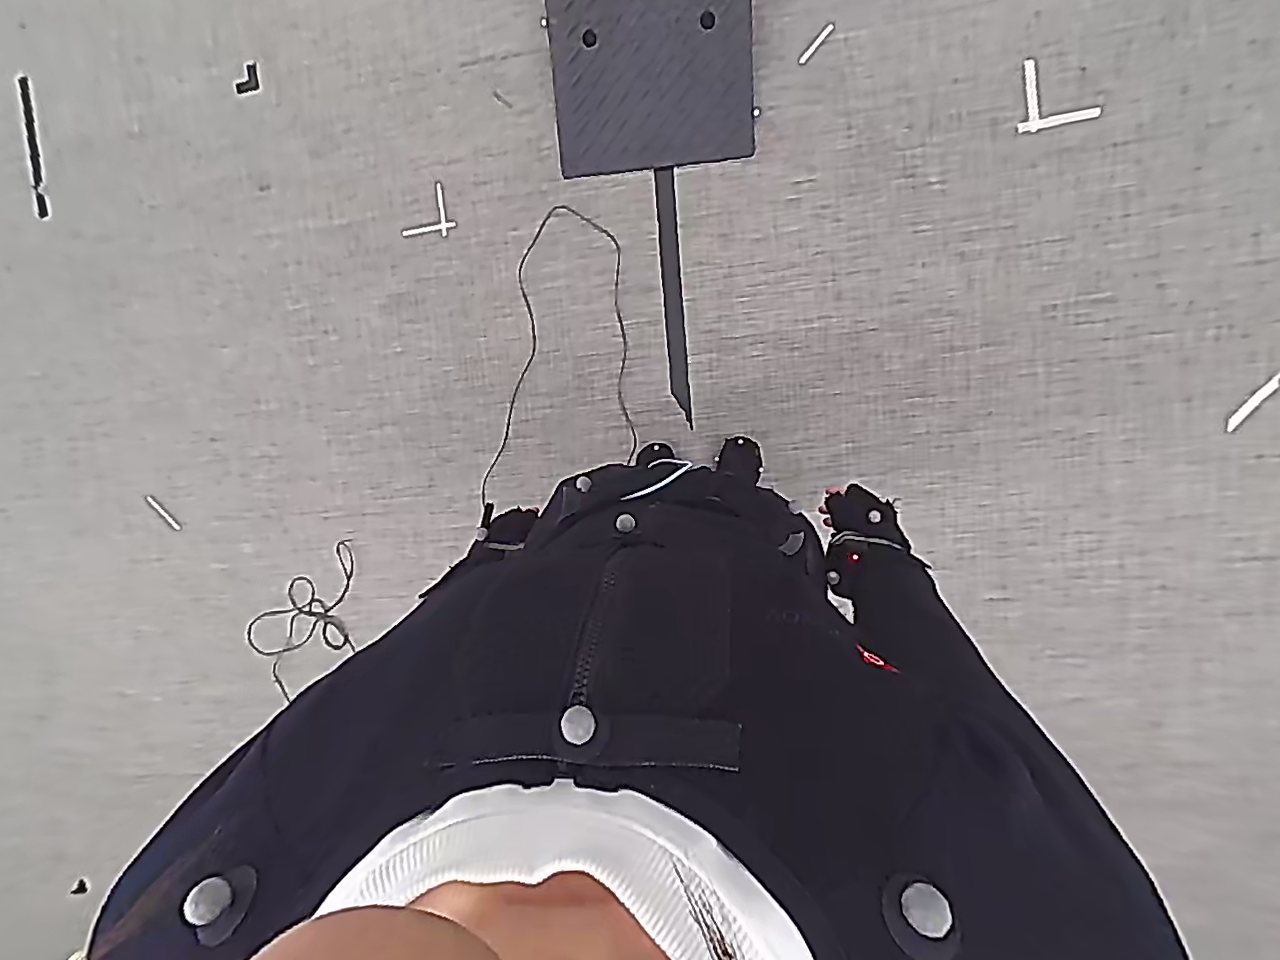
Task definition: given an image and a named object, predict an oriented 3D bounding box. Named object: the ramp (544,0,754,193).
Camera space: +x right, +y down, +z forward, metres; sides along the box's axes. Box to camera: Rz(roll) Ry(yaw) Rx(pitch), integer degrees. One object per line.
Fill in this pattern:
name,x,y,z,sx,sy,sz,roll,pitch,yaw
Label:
ramp,0.001,-1.256,1.281,0.509,0.206,0.991,-6,94,8
